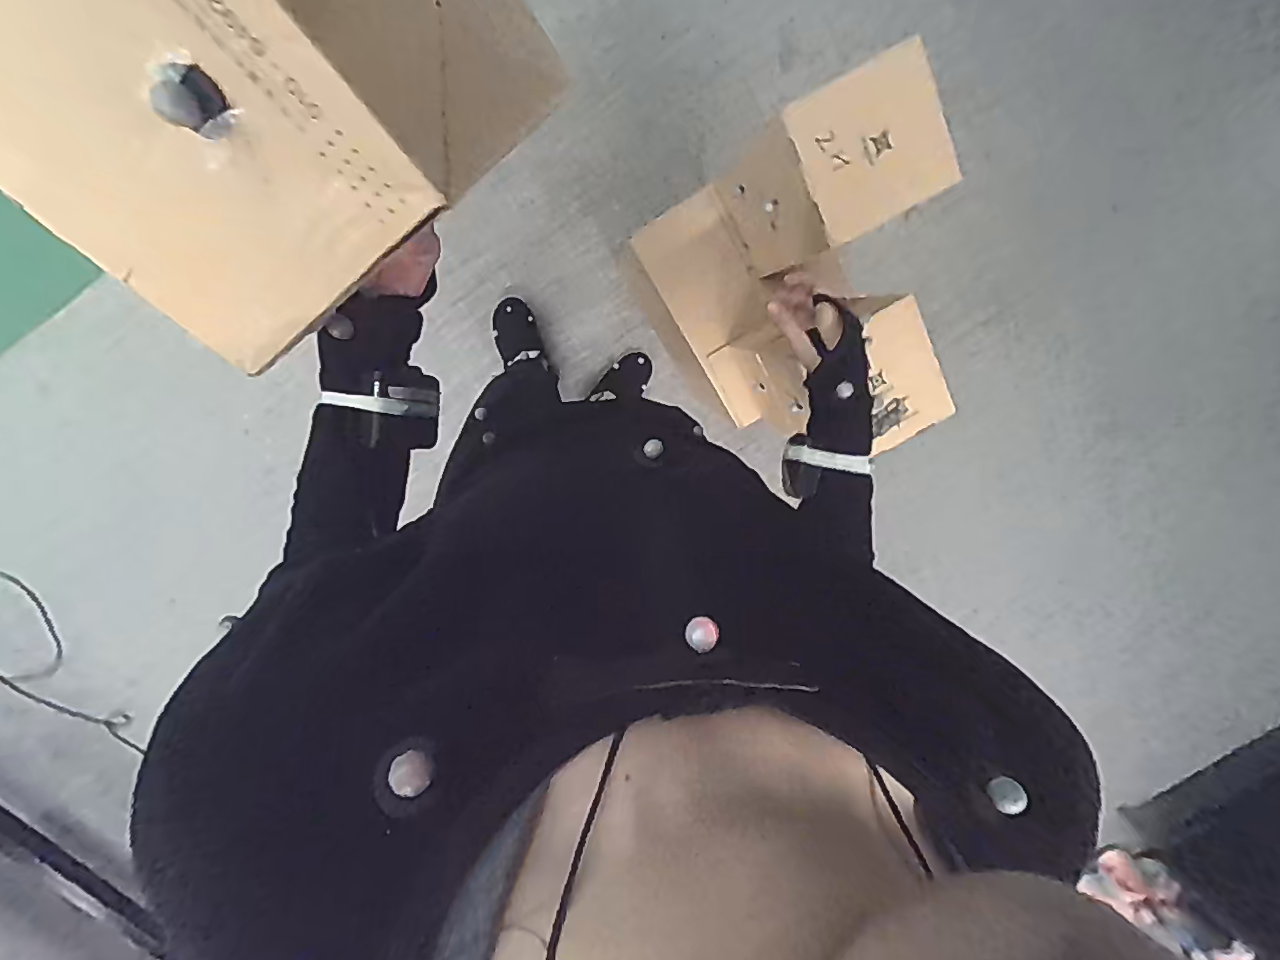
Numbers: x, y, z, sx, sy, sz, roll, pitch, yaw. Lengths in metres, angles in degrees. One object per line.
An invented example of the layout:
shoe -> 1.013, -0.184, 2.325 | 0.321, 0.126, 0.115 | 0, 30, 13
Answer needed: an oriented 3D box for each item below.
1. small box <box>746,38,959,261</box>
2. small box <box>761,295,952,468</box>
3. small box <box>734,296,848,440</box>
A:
small box -> 0.263, -0.408, 0.703 | 0.179, 0.176, 0.168 | -27, 105, 3
small box -> 0.298, -0.146, 0.775 | 0.168, 0.176, 0.179 | -29, 106, 3
small box -> 0.281, -0.193, 0.931 | 0.168, 0.176, 0.179 | -29, 105, 5
